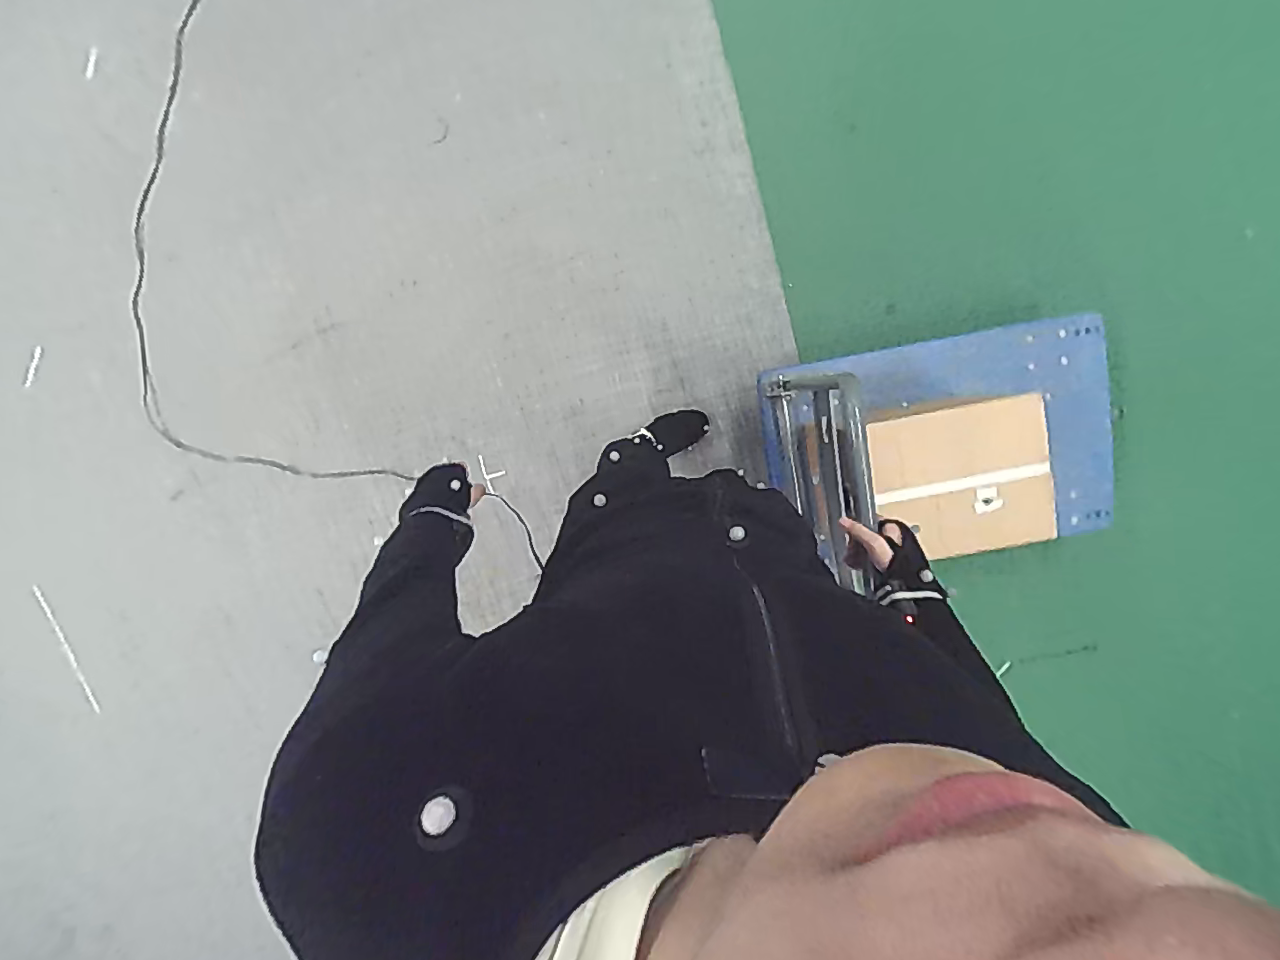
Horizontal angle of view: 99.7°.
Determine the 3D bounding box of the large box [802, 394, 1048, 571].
[{"bbox_3d":[0.643,-0.007,1.280,0.408,0.320,0.320,-10,98,2],"label":"large box"}]
